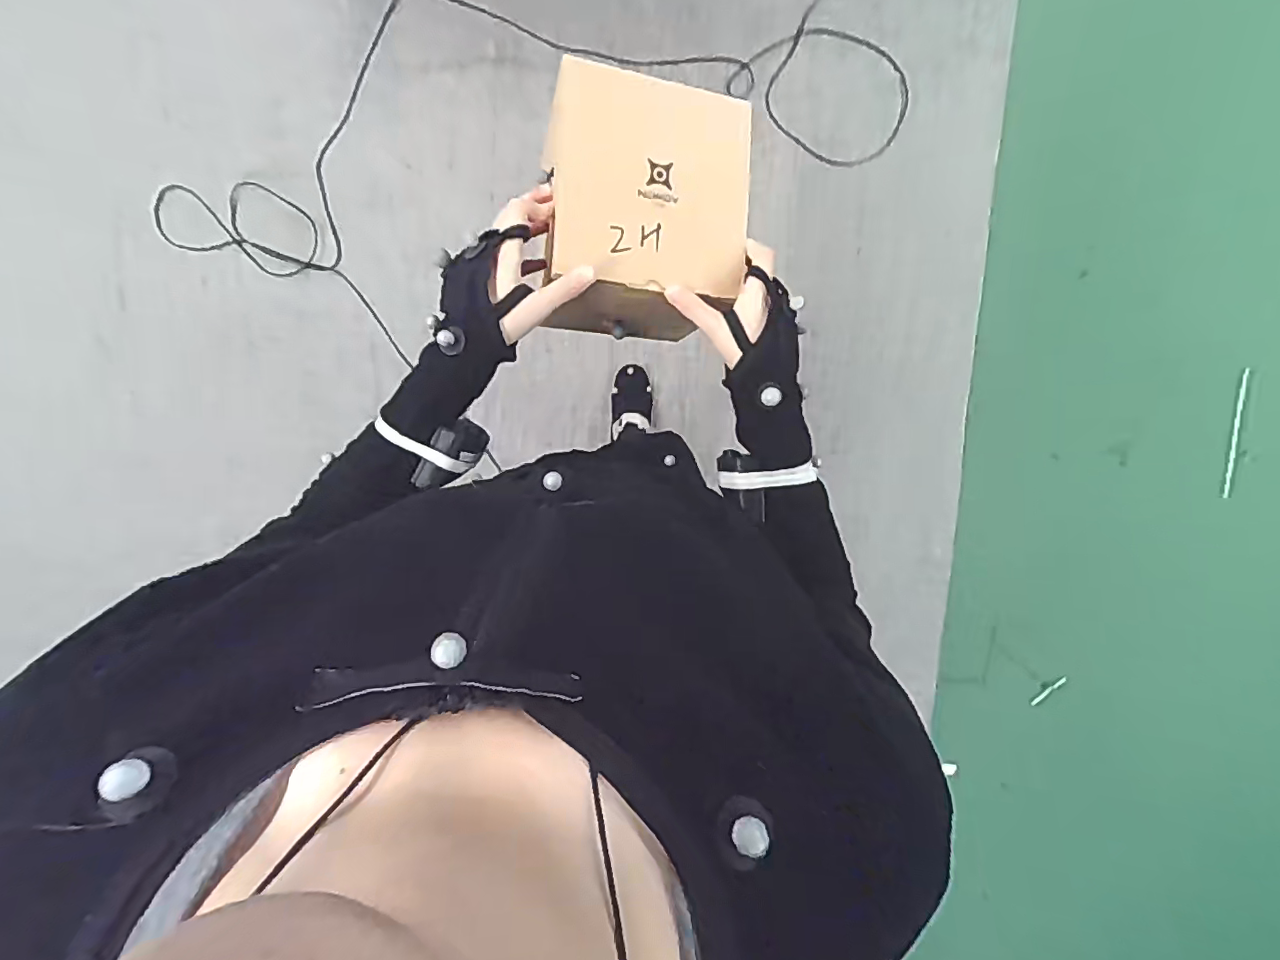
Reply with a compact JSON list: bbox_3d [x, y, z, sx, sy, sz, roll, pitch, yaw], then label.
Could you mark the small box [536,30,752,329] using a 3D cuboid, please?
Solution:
[{"bbox_3d":[-0.008,-0.261,0.518,0.168,0.176,0.179,3,91,-16],"label":"small box"}]
